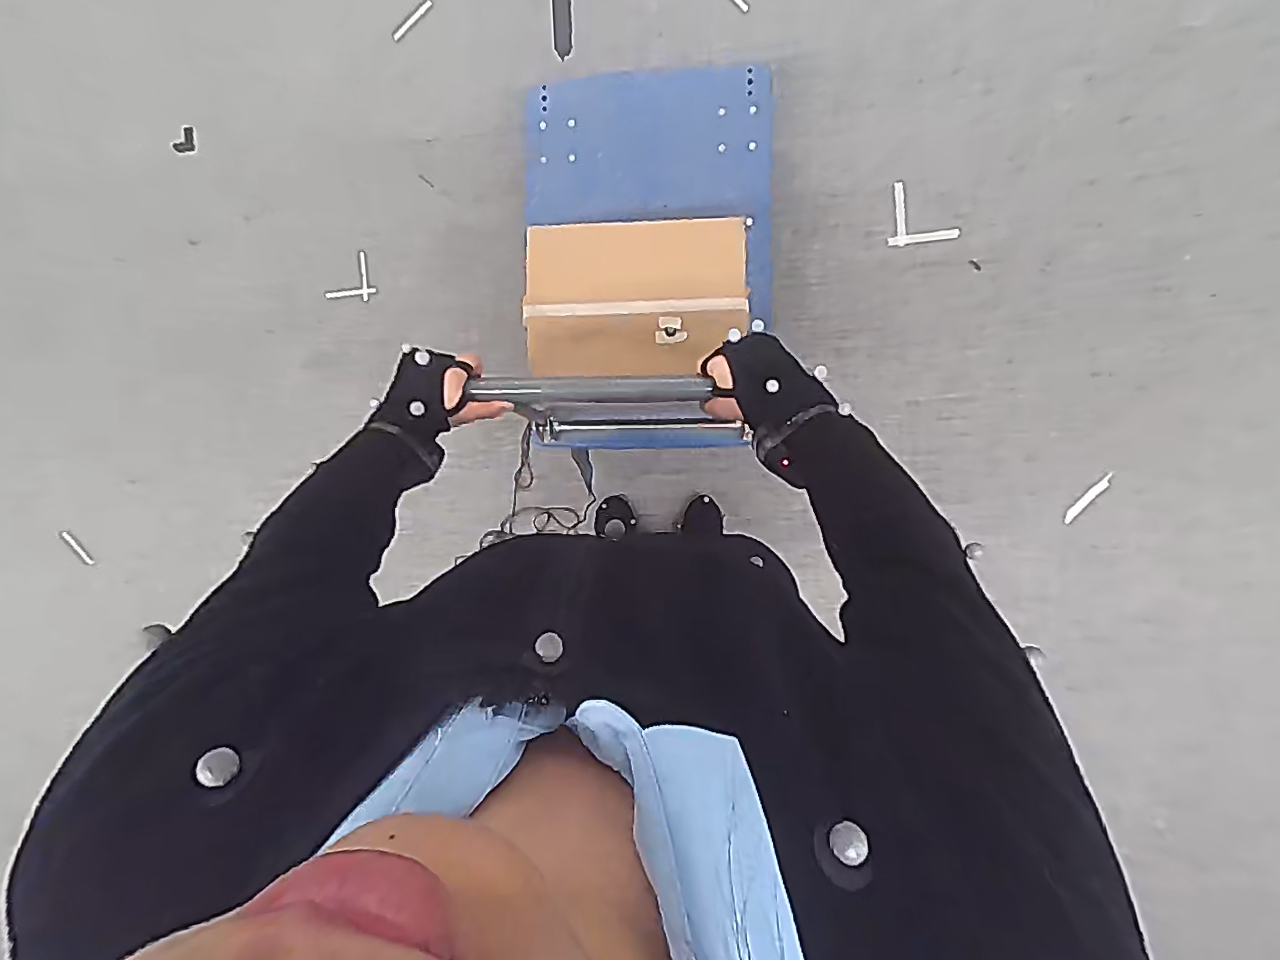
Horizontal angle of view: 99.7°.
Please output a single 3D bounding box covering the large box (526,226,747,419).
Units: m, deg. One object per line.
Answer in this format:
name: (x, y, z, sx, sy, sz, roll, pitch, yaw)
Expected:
large box: (0.000, -0.299, 1.127, 0.408, 0.320, 0.320, 0, 92, 4)
